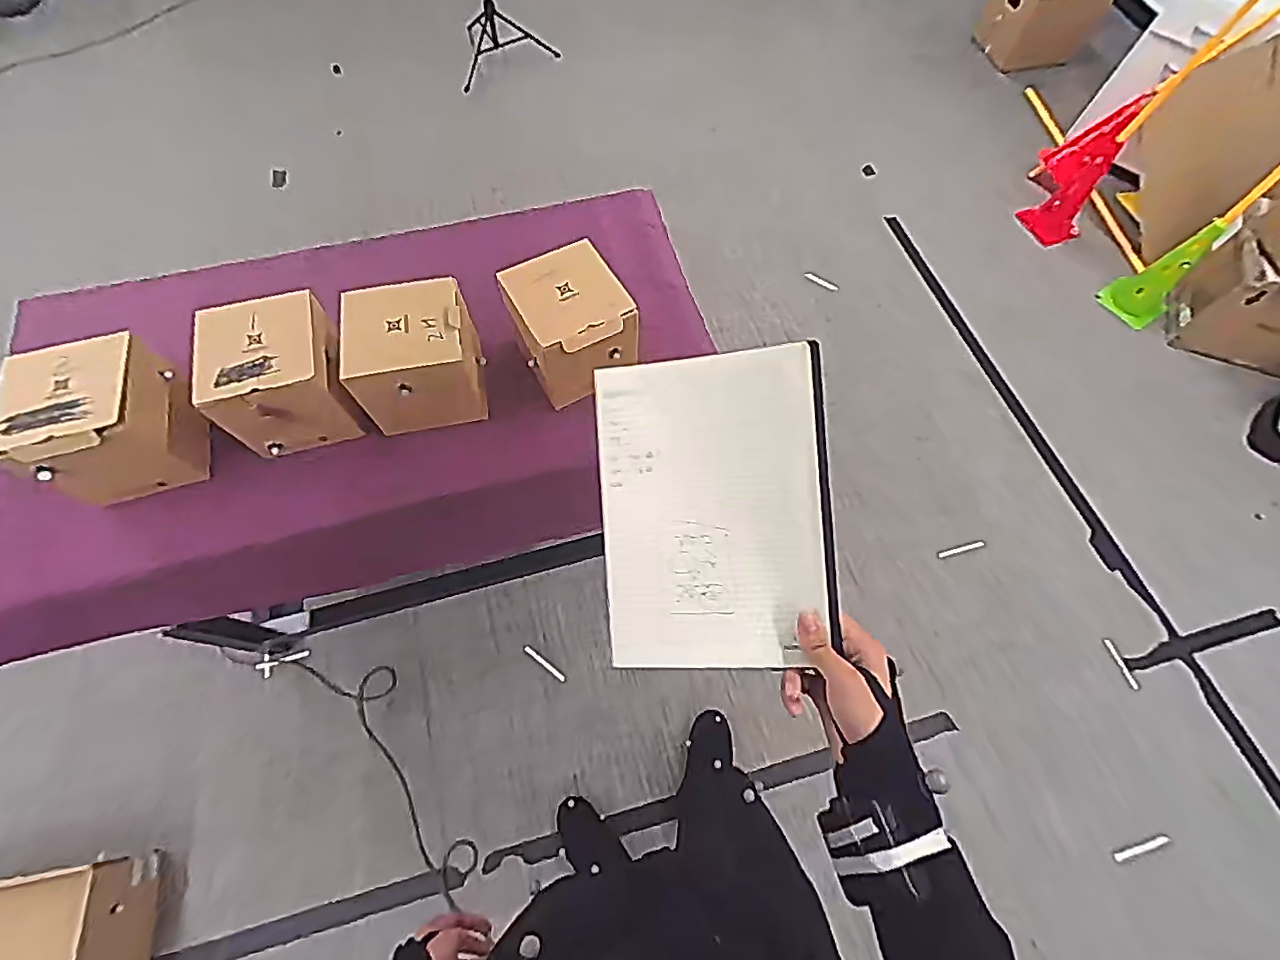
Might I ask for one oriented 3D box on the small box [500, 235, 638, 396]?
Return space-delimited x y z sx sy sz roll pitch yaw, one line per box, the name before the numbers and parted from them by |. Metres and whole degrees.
small box | -0.112 -0.266 0.912 0.168 0.176 0.179 -26 68 -13
